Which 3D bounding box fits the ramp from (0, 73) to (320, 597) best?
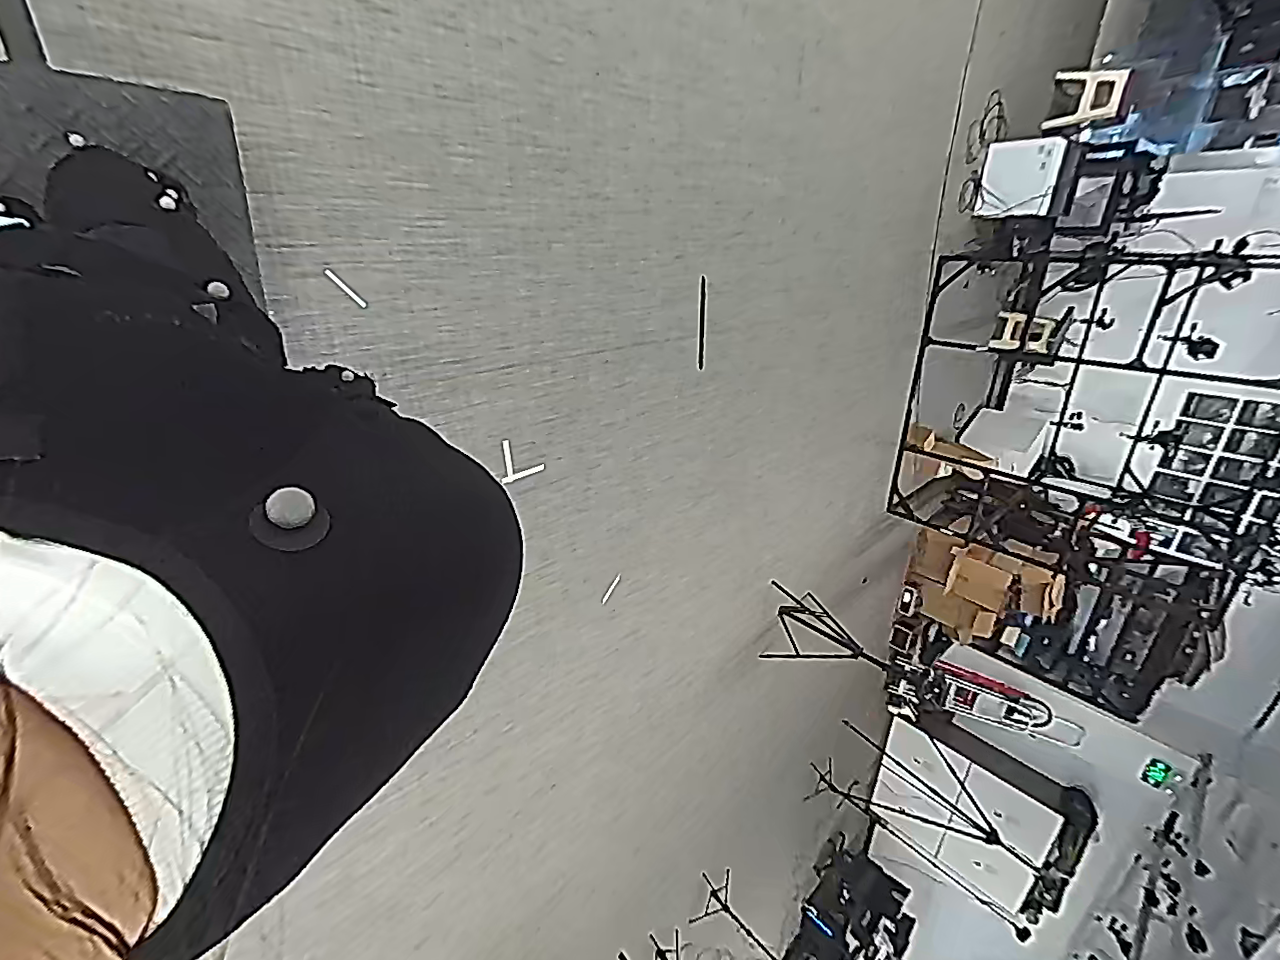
[{"bbox_3d":[-1.014,-0.220,1.121,0.509,0.206,0.991,-22,122,-38],"label":"ramp"}]
